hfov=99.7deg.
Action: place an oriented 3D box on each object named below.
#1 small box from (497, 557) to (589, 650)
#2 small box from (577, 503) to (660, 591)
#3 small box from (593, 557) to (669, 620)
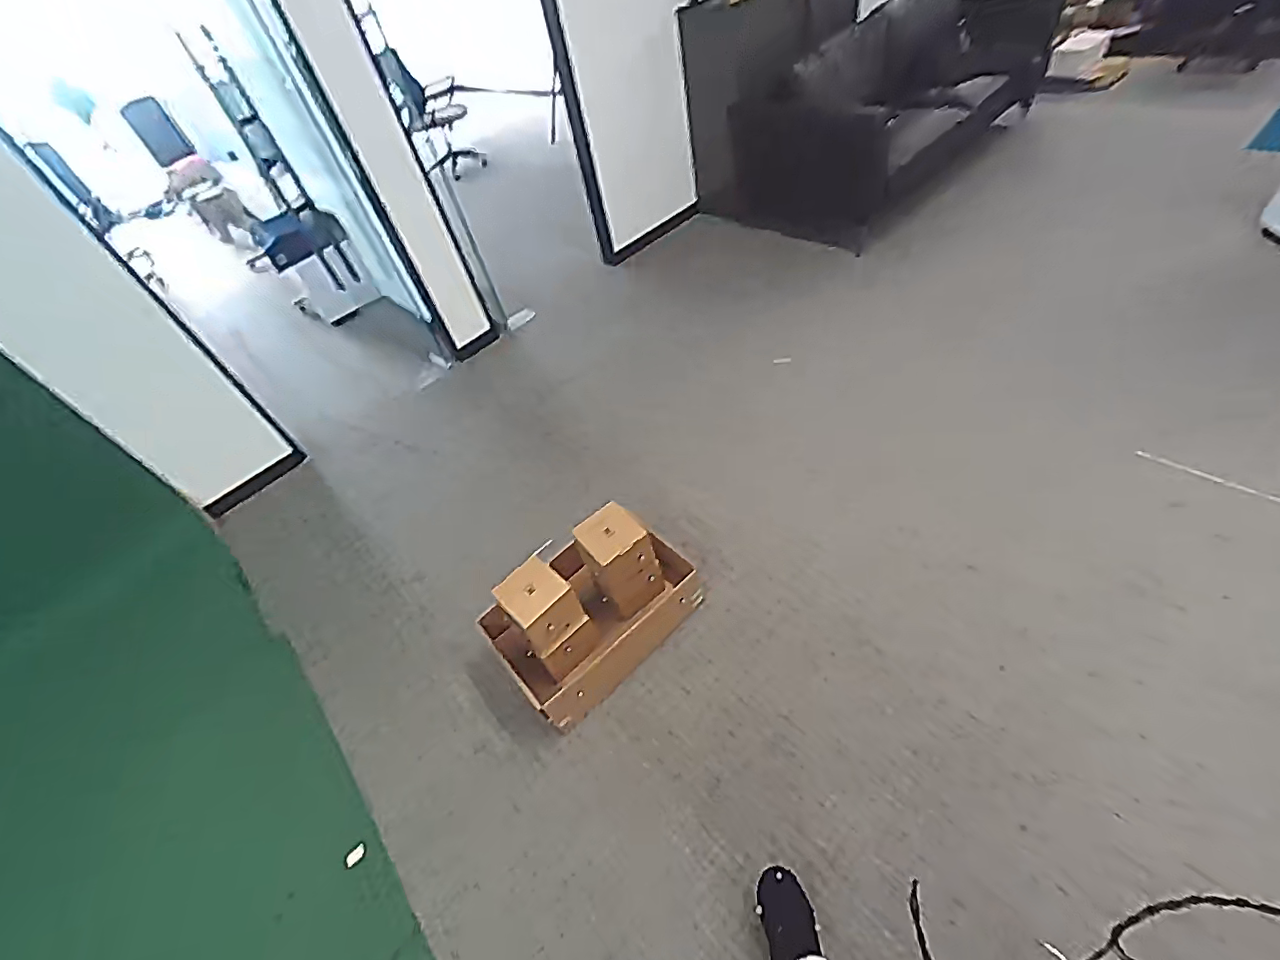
[{"bbox_3d":[-0.272,0.362,1.554,0.168,0.176,0.179,-41,51,-23],"label":"small box"},{"bbox_3d":[-0.059,0.210,1.634,0.168,0.176,0.179,-35,49,-18],"label":"small box"},{"bbox_3d":[-0.022,0.317,1.752,0.179,0.176,0.168,-36,50,-16],"label":"small box"}]
